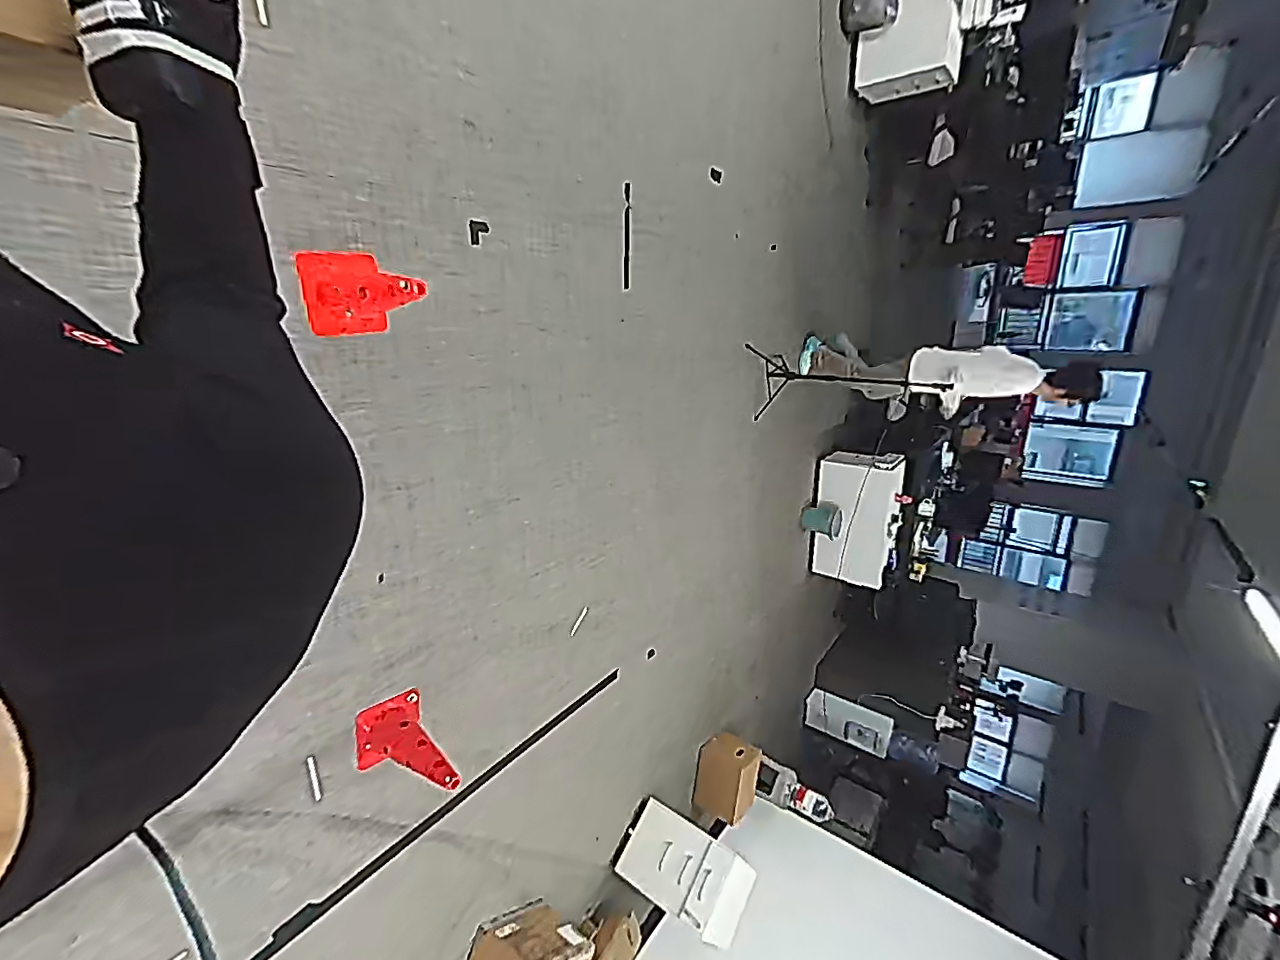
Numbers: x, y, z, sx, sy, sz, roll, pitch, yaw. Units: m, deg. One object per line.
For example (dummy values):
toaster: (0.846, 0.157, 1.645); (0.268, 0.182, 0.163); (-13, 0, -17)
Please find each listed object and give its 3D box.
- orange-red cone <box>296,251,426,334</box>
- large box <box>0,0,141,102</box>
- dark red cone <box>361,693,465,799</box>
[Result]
orange-red cone: (-0.624, -0.453, 1.283); (0.198, 0.360, 0.199); (-25, 118, -49)
large box: (-0.576, -0.429, 0.255); (0.408, 0.320, 0.320); (-21, 123, -50)
dark red cone: (-0.641, 0.812, 1.586); (0.201, 0.394, 0.202); (-12, 109, -50)
